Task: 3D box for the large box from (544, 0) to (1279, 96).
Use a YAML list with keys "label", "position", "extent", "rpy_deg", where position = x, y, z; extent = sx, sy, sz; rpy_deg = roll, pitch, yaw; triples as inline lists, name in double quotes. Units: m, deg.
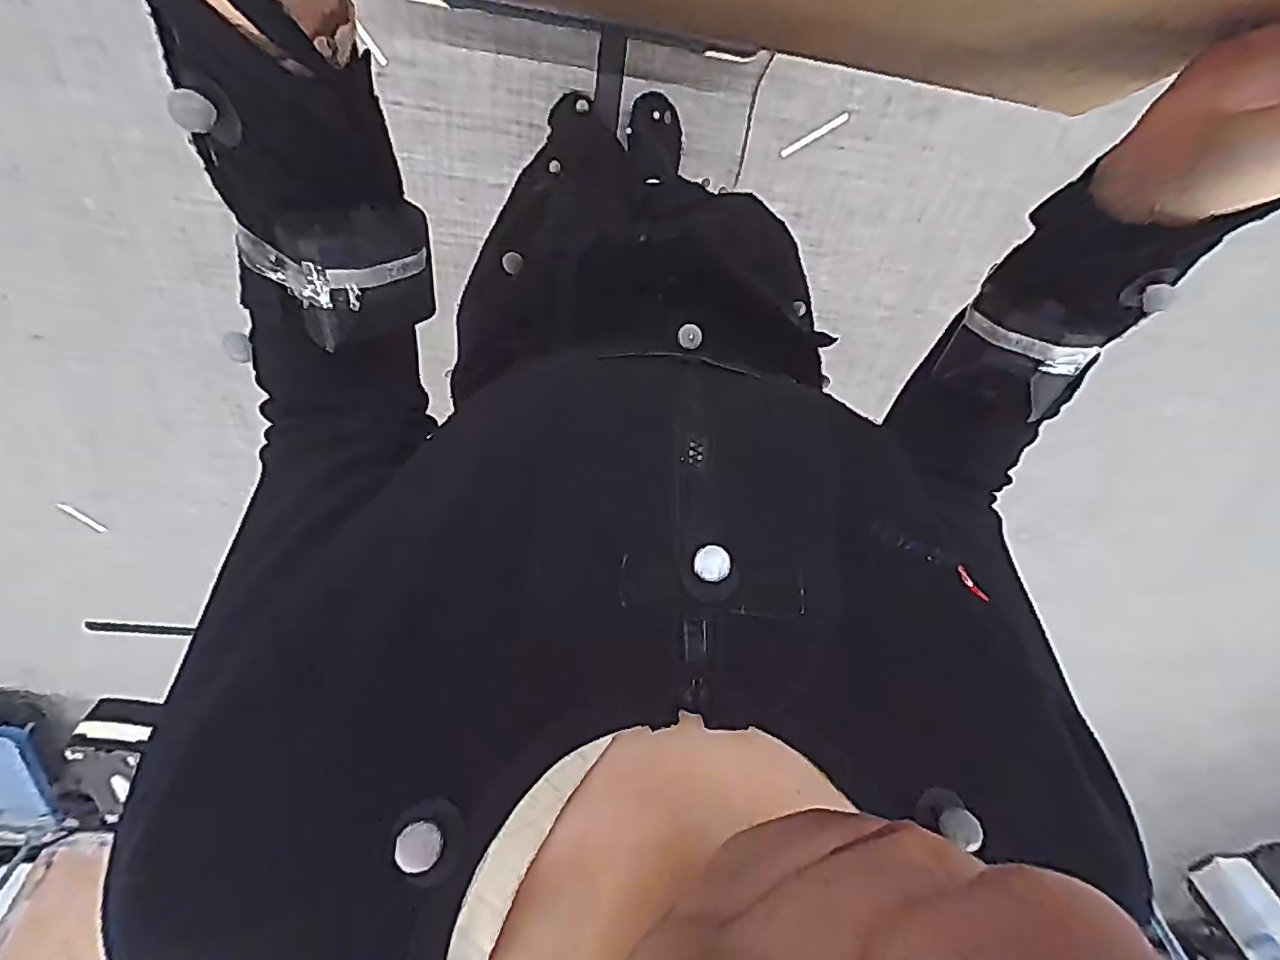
- label: "large box"
  position: [0.085, -0.348, 0.112]
  extent: [0.408, 0.320, 0.320]
  rpy_deg: [4, 105, -7]
